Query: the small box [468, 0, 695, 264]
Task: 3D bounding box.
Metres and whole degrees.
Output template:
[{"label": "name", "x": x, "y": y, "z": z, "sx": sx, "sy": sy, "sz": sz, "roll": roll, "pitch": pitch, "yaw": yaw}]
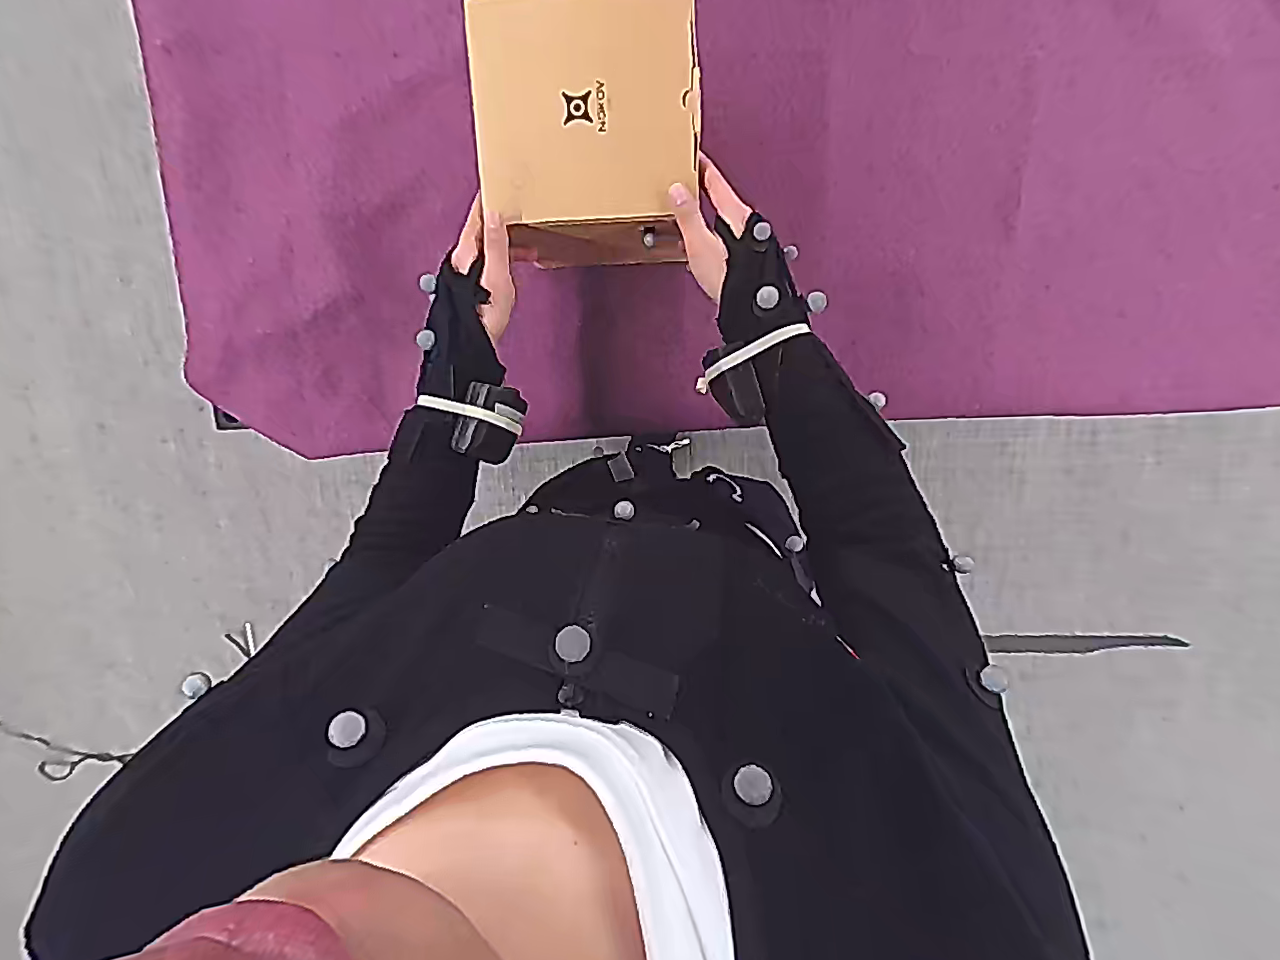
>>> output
[{"label": "small box", "x": -0.039, "y": -0.304, "z": 0.498, "sx": 0.179, "sy": 0.176, "sz": 0.168, "roll": -1, "pitch": 99, "yaw": 3}]
